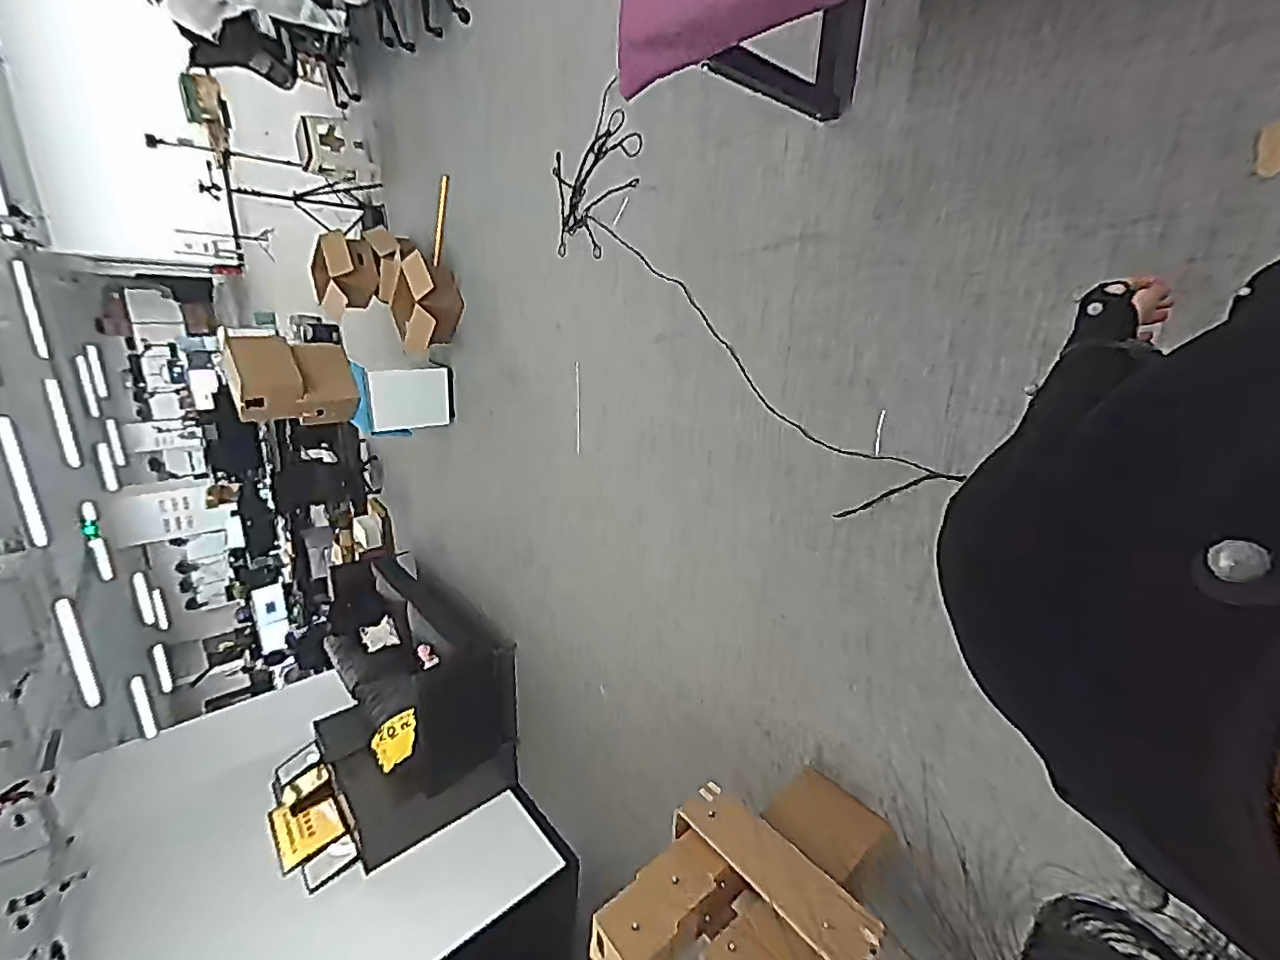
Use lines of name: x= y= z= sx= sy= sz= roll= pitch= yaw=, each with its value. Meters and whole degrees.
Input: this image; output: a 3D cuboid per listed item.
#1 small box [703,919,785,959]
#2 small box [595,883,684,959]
small box: x=0.280 y=1.323 z=1.436 sx=0.179 sy=0.176 sz=0.168 roll=32 pitch=125 yaw=45
small box: x=-0.002 y=1.275 z=1.505 sx=0.179 sy=0.176 sz=0.168 roll=26 pitch=119 yaw=43
